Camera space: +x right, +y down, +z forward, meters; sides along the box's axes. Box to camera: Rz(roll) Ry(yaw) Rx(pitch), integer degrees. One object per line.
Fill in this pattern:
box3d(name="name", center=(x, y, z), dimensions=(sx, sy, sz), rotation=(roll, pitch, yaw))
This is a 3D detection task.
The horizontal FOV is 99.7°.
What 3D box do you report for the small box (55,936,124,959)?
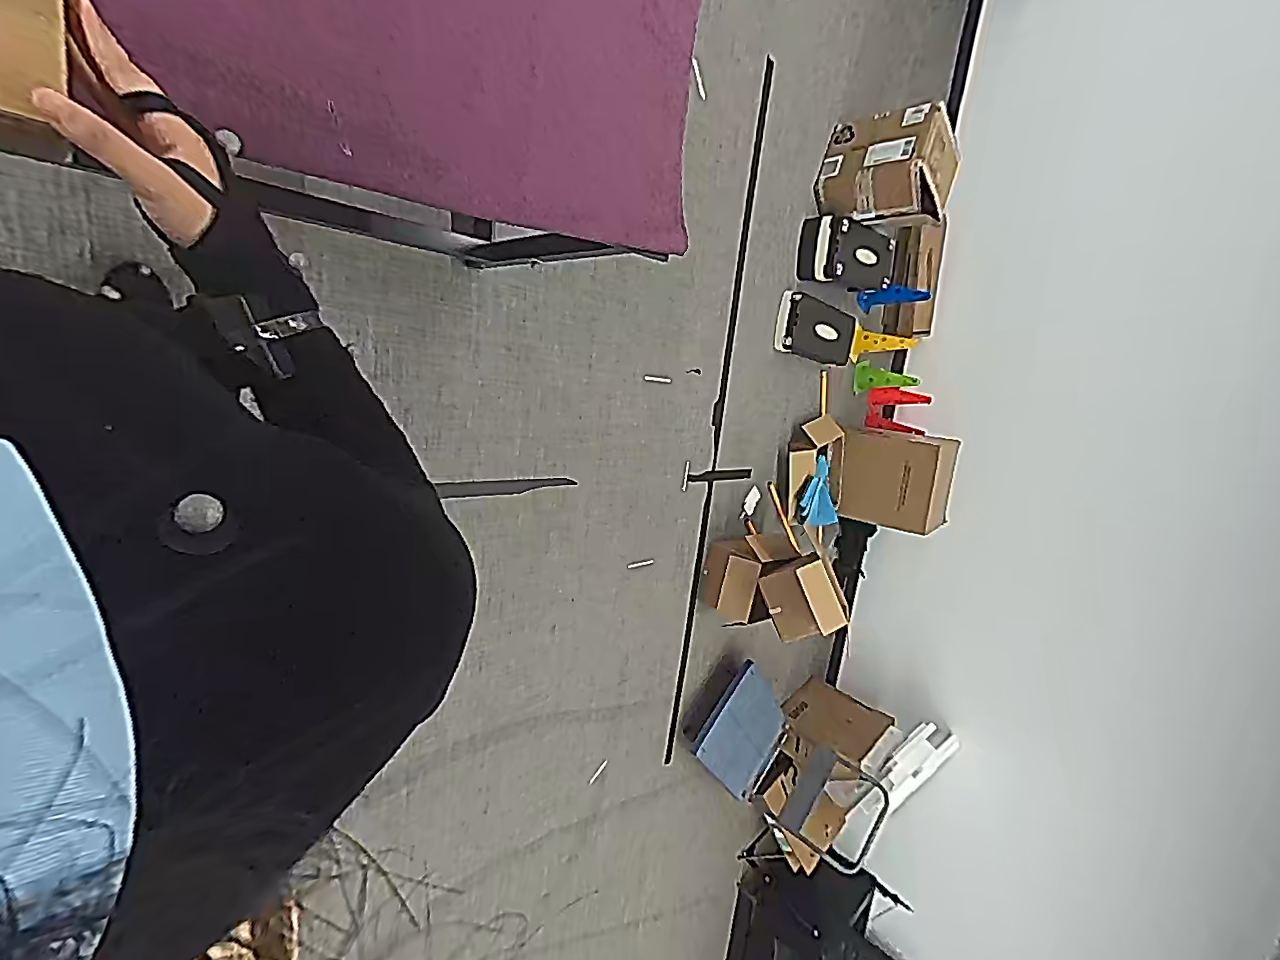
box3d(name="small box", center=(-1.239, 1.166, 1.175), dimensions=(0.168, 0.176, 0.179), rotation=(2, 102, -47))
